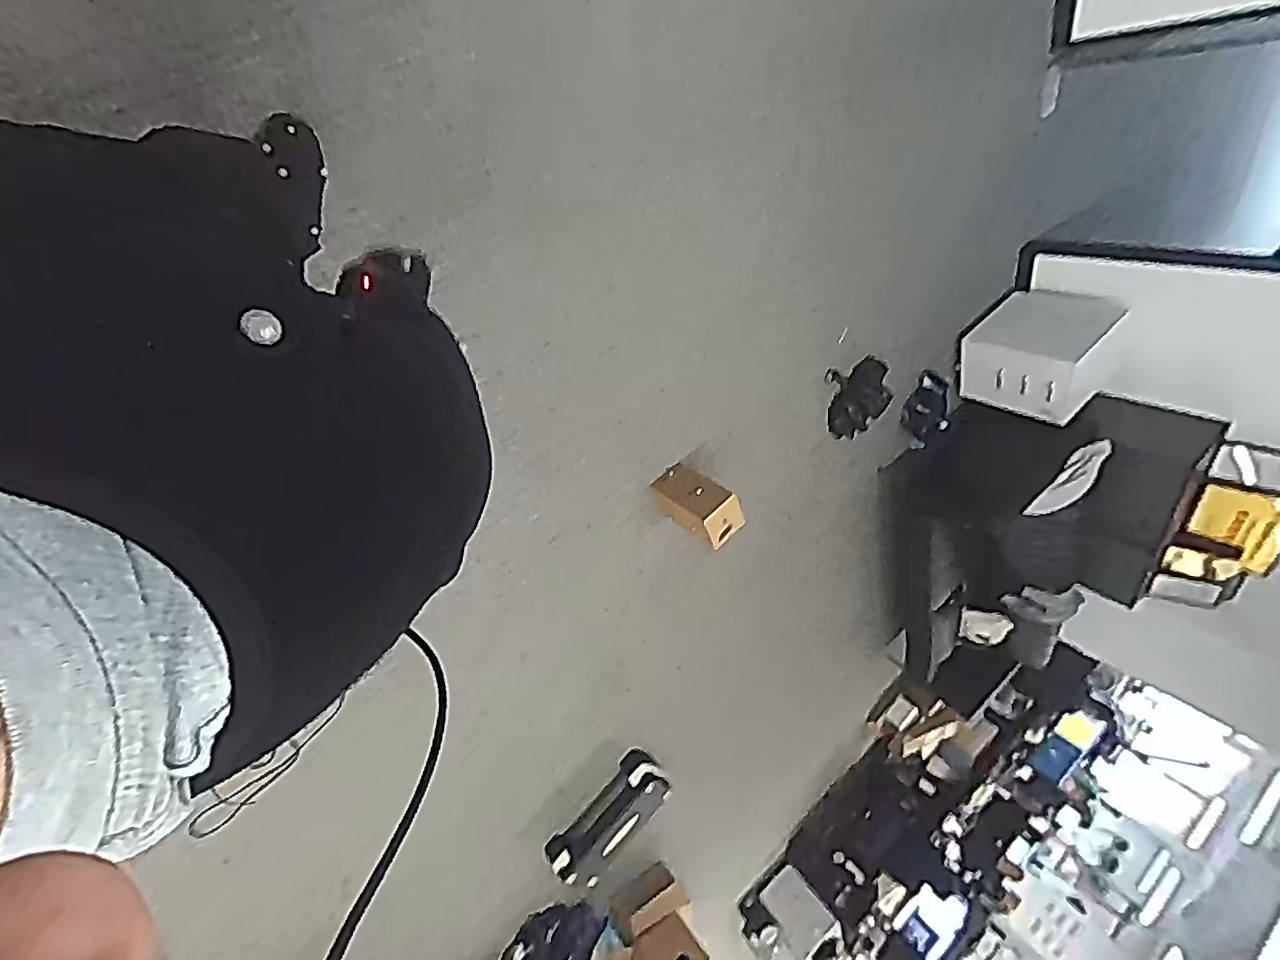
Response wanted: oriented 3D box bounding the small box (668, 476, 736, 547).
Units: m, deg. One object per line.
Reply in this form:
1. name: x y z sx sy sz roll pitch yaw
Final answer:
1. small box: 0.234 0.115 2.065 0.168 0.176 0.179 -41 132 -16

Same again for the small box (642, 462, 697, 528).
1. small box: 0.139 0.057 2.186 0.168 0.176 0.179 -41 131 -16
